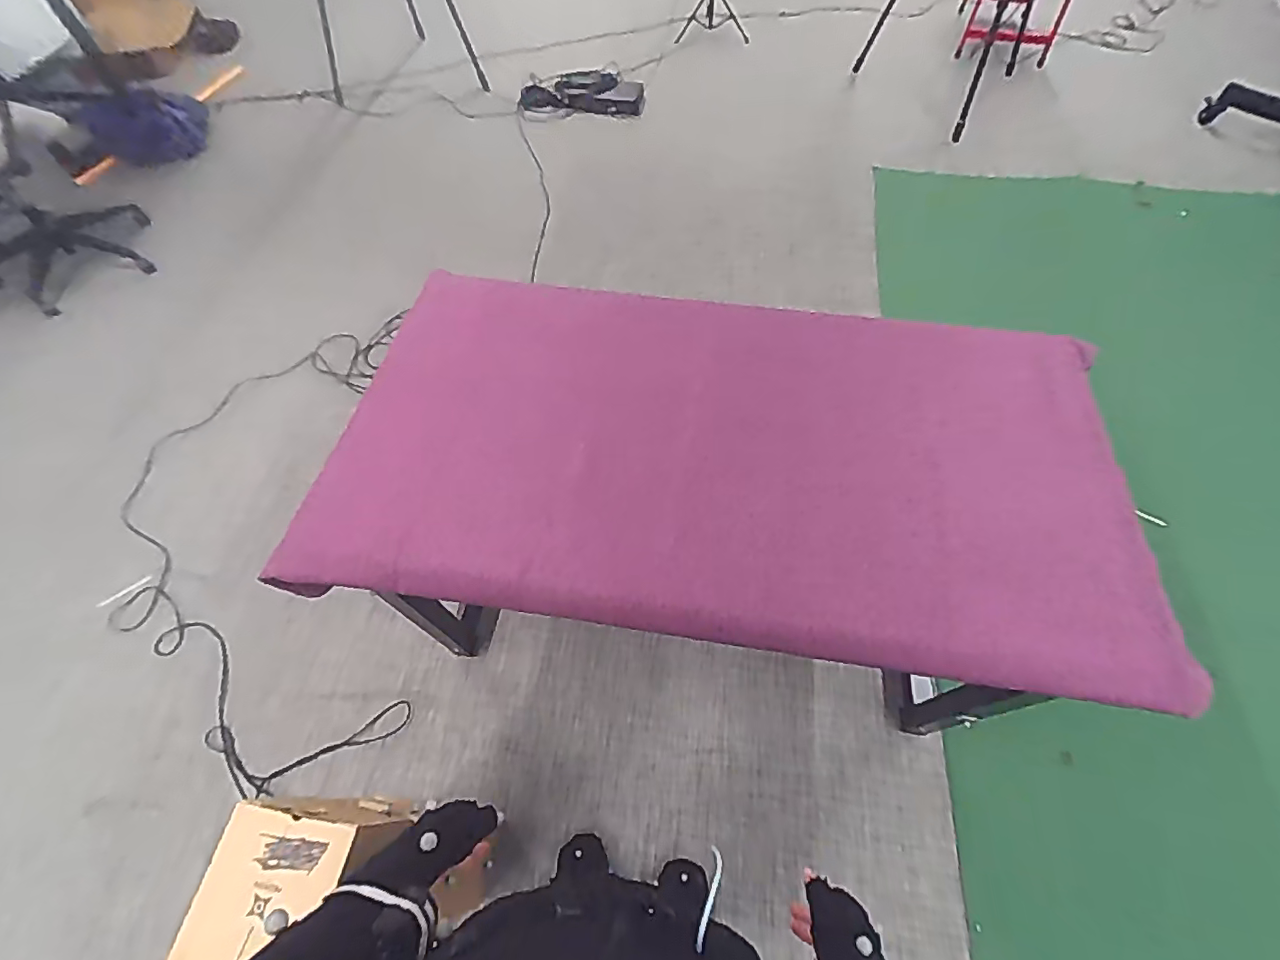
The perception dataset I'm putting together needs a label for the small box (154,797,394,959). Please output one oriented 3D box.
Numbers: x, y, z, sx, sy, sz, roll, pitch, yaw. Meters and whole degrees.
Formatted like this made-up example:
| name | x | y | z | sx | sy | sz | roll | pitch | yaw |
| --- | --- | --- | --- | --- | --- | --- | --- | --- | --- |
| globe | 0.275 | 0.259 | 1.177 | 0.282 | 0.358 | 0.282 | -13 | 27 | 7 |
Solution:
| name | x | y | z | sx | sy | sz | roll | pitch | yaw |
| --- | --- | --- | --- | --- | --- | --- | --- | --- | --- |
| small box | -0.451 | 0.529 | 0.705 | 0.168 | 0.176 | 0.179 | 9 | 62 | 6 |
